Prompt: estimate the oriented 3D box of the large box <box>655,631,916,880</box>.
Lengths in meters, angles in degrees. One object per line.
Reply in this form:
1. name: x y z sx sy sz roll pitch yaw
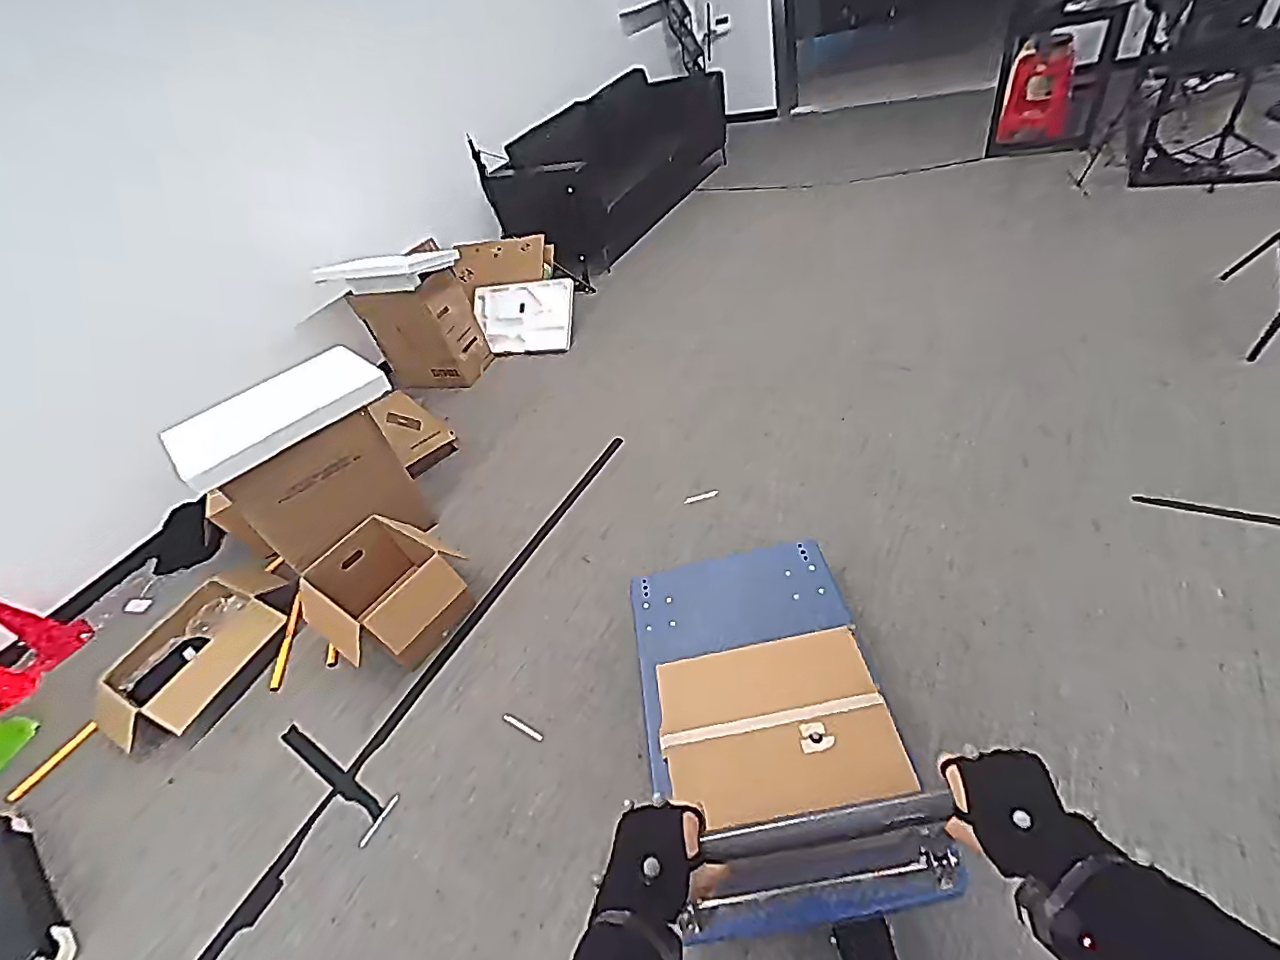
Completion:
1. large box: 0.268 0.557 1.089 0.408 0.320 0.320 -13 43 4
